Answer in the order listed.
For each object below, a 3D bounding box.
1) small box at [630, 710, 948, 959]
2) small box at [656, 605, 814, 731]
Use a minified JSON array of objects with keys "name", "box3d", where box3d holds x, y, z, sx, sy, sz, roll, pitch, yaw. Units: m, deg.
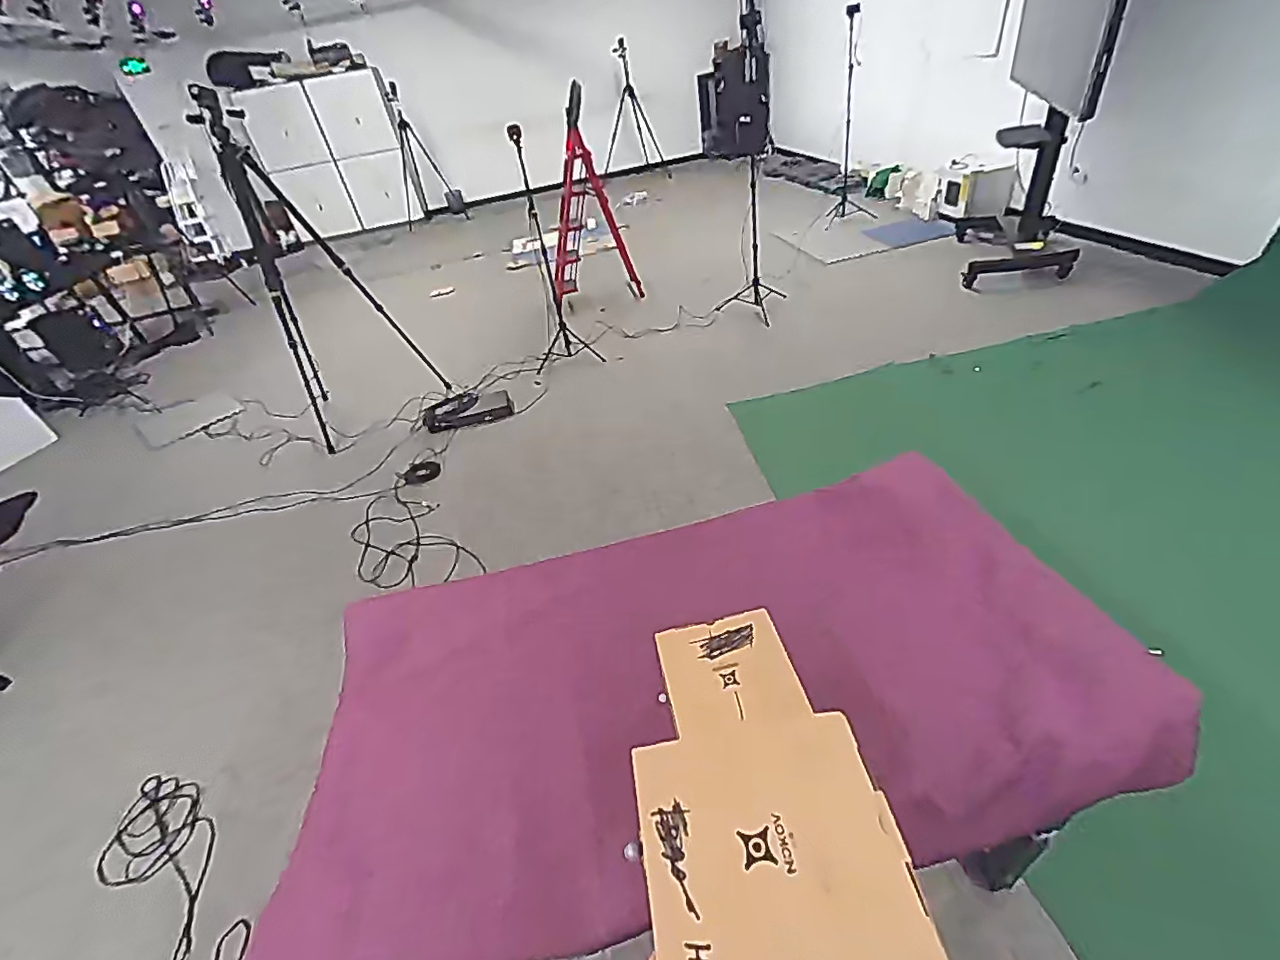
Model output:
[{"name":"small box","box3d":[0.091,0.304,0.414,0.179,0.176,0.168,-8,39,-2]},{"name":"small box","box3d":[0.125,0.306,0.743,0.168,0.176,0.179,-13,38,-2]}]
